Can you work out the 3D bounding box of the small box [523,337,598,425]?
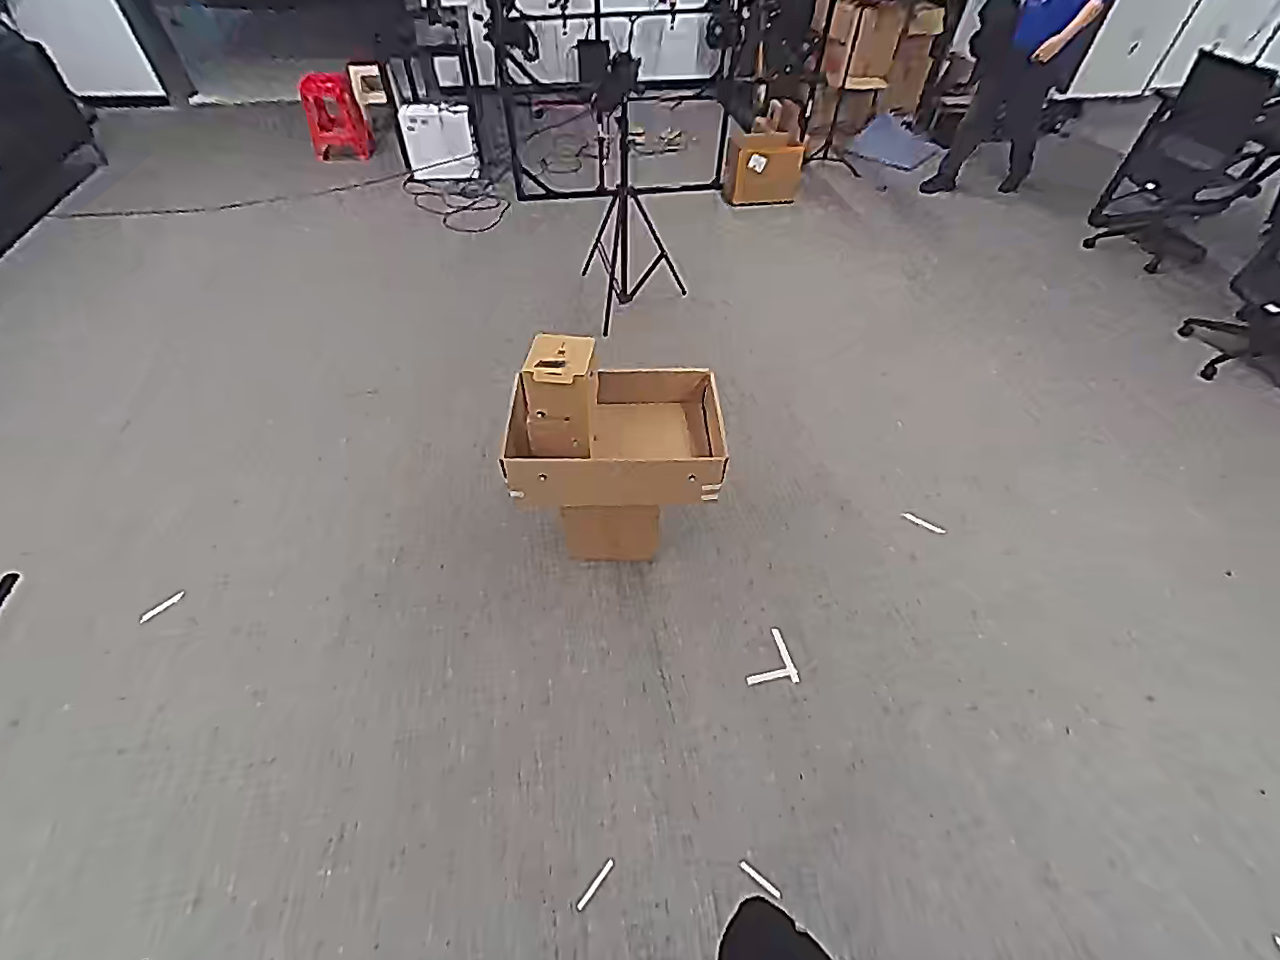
[{"bbox_3d":[-0.209,-0.268,1.478,0.168,0.176,0.179,5,48,3],"label":"small box"}]
